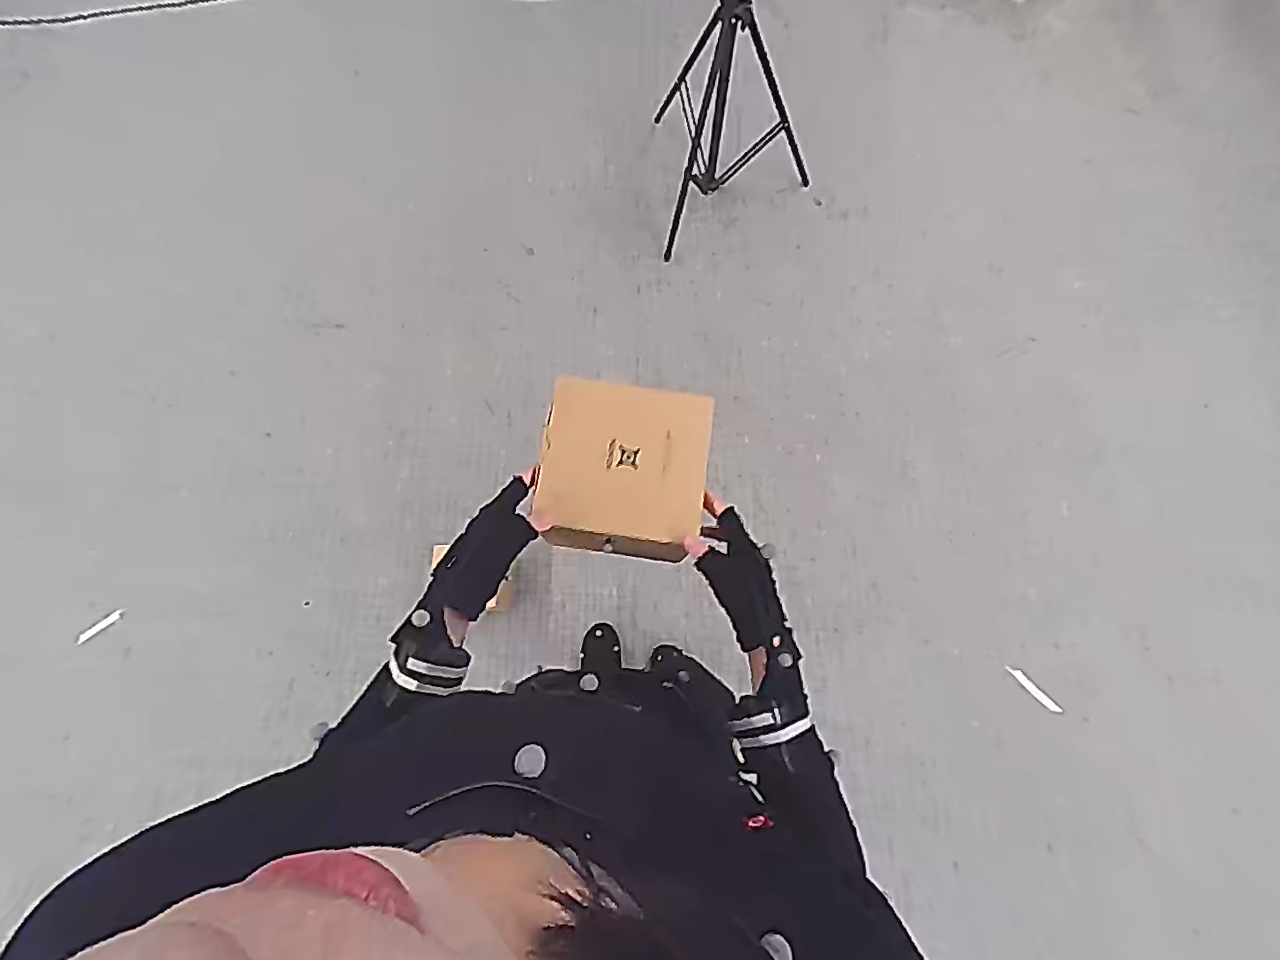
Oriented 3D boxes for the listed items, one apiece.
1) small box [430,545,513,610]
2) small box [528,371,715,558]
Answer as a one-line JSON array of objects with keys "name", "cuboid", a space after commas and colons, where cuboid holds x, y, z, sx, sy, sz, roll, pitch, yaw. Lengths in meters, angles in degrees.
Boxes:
[{"name": "small box", "cuboid": [-0.455, 0.270, 1.486, 0.179, 0.176, 0.168, -1, 75, 0]}, {"name": "small box", "cuboid": [-0.021, -0.007, 0.636, 0.179, 0.176, 0.168, 9, 75, -3]}]
